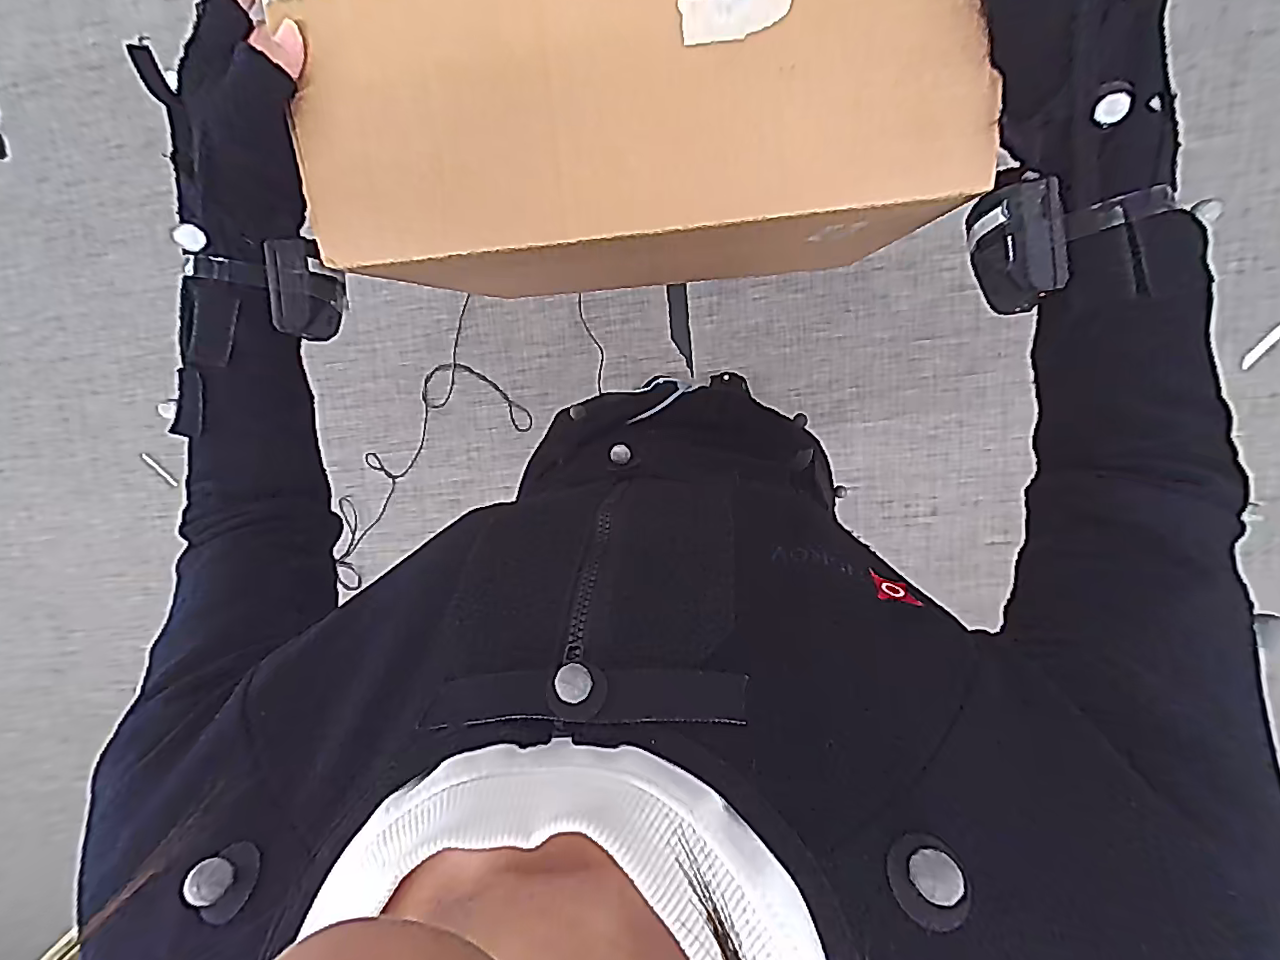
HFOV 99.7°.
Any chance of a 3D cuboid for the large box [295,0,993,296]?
[{"bbox_3d":[0.003,-0.344,0.442,0.408,0.320,0.320,-3,105,8],"label":"large box"}]
